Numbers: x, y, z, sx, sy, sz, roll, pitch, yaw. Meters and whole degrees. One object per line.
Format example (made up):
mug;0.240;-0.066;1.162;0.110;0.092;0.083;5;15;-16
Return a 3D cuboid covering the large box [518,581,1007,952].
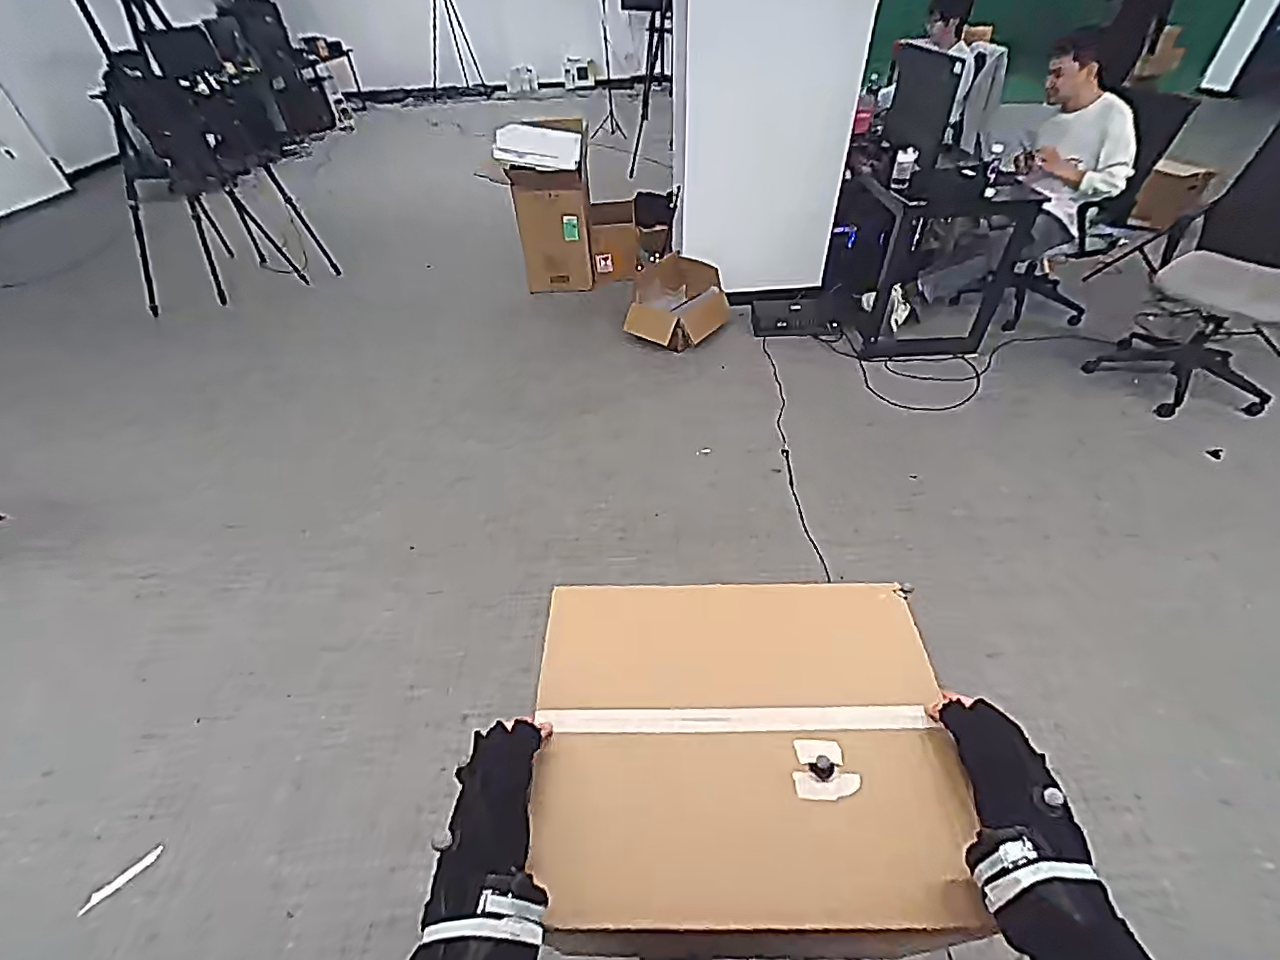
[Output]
large box;0.098;0.337;0.640;0.408;0.320;0.320;-1;45;1
